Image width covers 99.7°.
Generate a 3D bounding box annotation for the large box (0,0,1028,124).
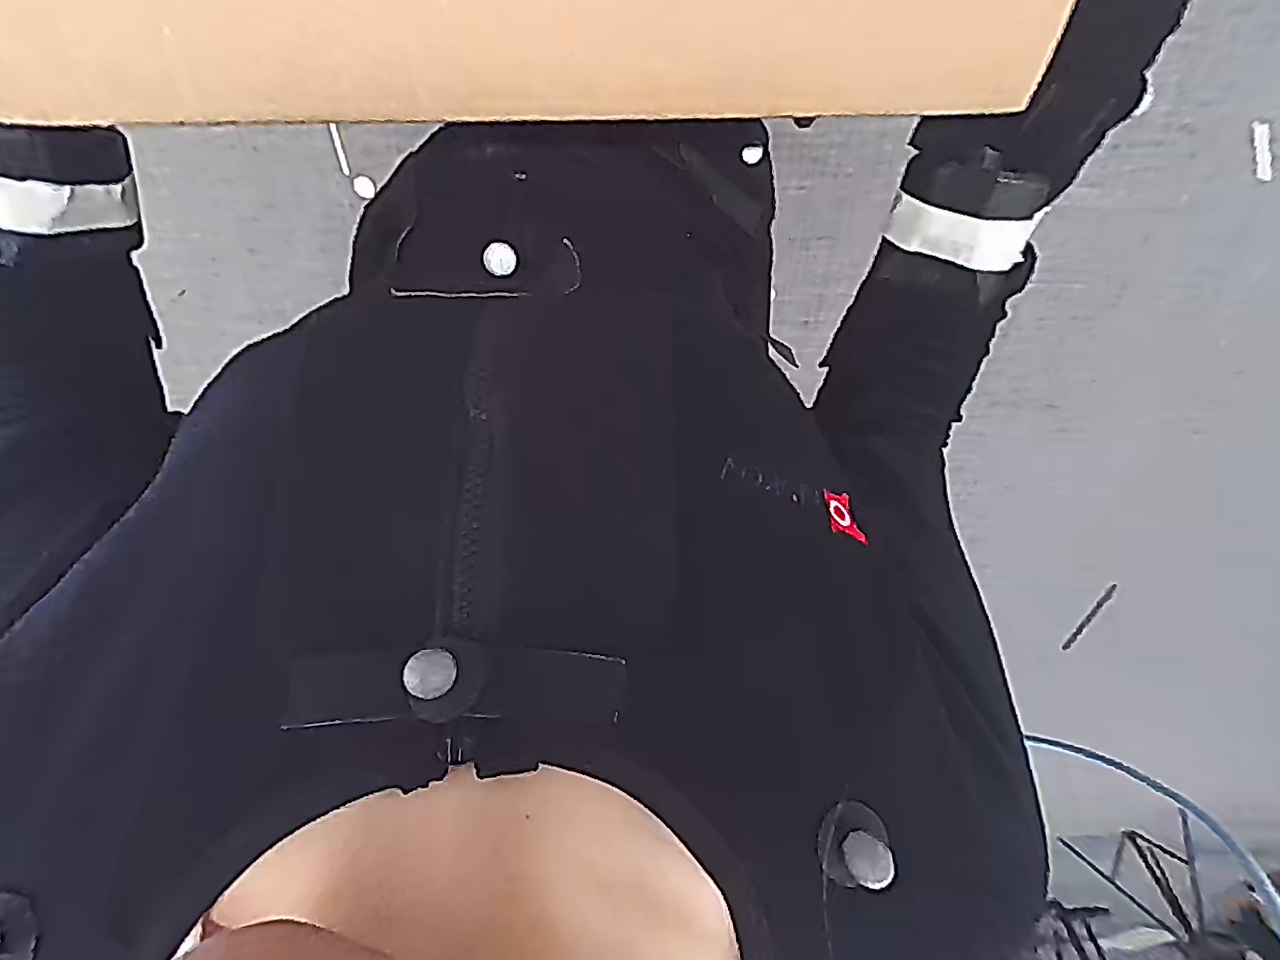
[{"bbox_3d":[-0.059,-0.365,0.210,0.408,0.320,0.320,-3,136,-2],"label":"large box"}]
